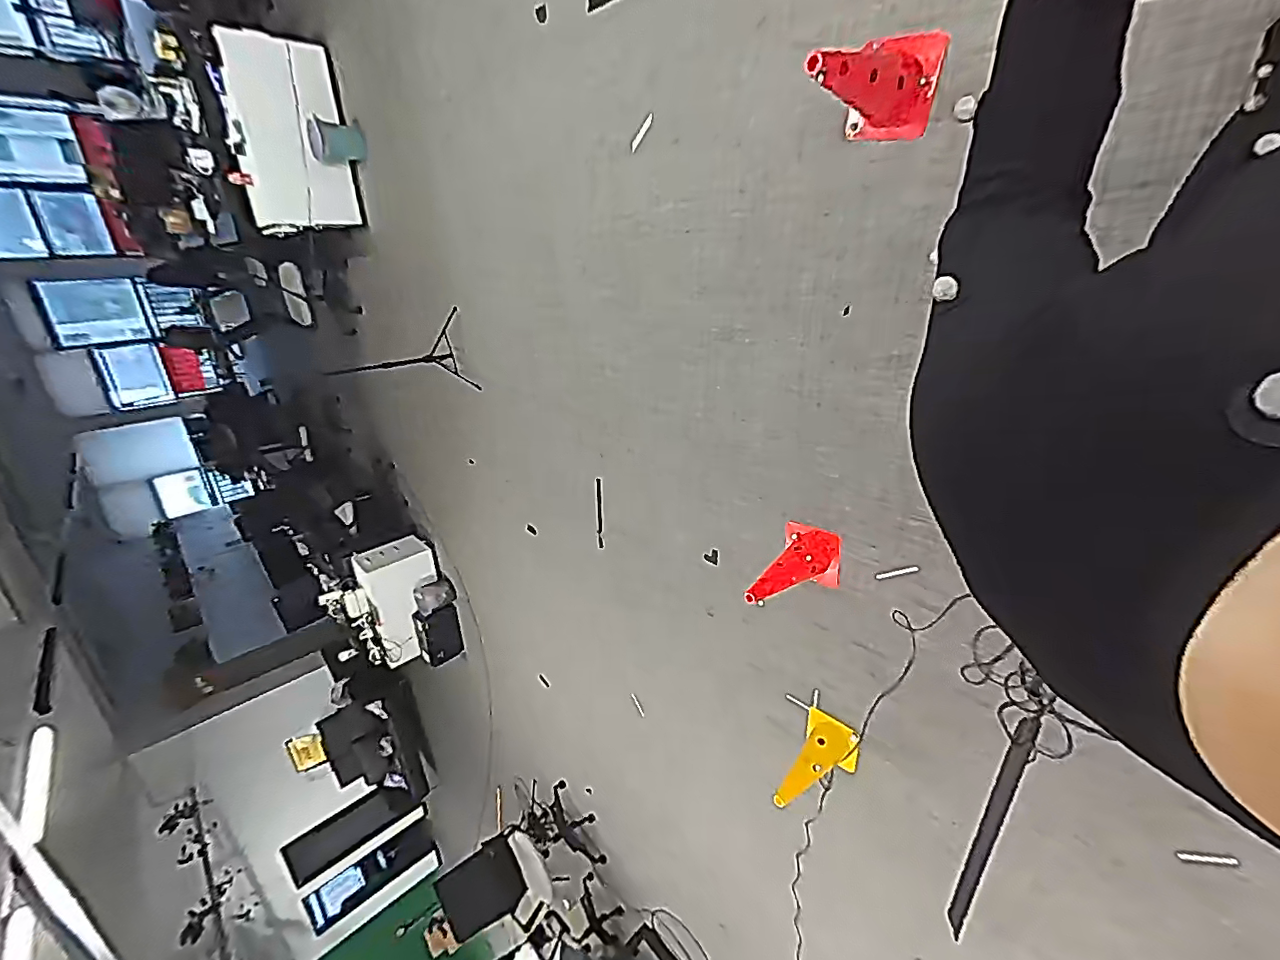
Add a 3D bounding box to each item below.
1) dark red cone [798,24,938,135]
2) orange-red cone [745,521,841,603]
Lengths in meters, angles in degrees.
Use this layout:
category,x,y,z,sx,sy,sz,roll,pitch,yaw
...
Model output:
category,x,y,z,sx,sy,sz,roll,pitch,yaw
dark red cone,0.449,-0.862,1.140,0.201,0.394,0.202,27,127,38
orange-red cone,0.458,0.300,1.724,0.198,0.360,0.199,19,123,44
